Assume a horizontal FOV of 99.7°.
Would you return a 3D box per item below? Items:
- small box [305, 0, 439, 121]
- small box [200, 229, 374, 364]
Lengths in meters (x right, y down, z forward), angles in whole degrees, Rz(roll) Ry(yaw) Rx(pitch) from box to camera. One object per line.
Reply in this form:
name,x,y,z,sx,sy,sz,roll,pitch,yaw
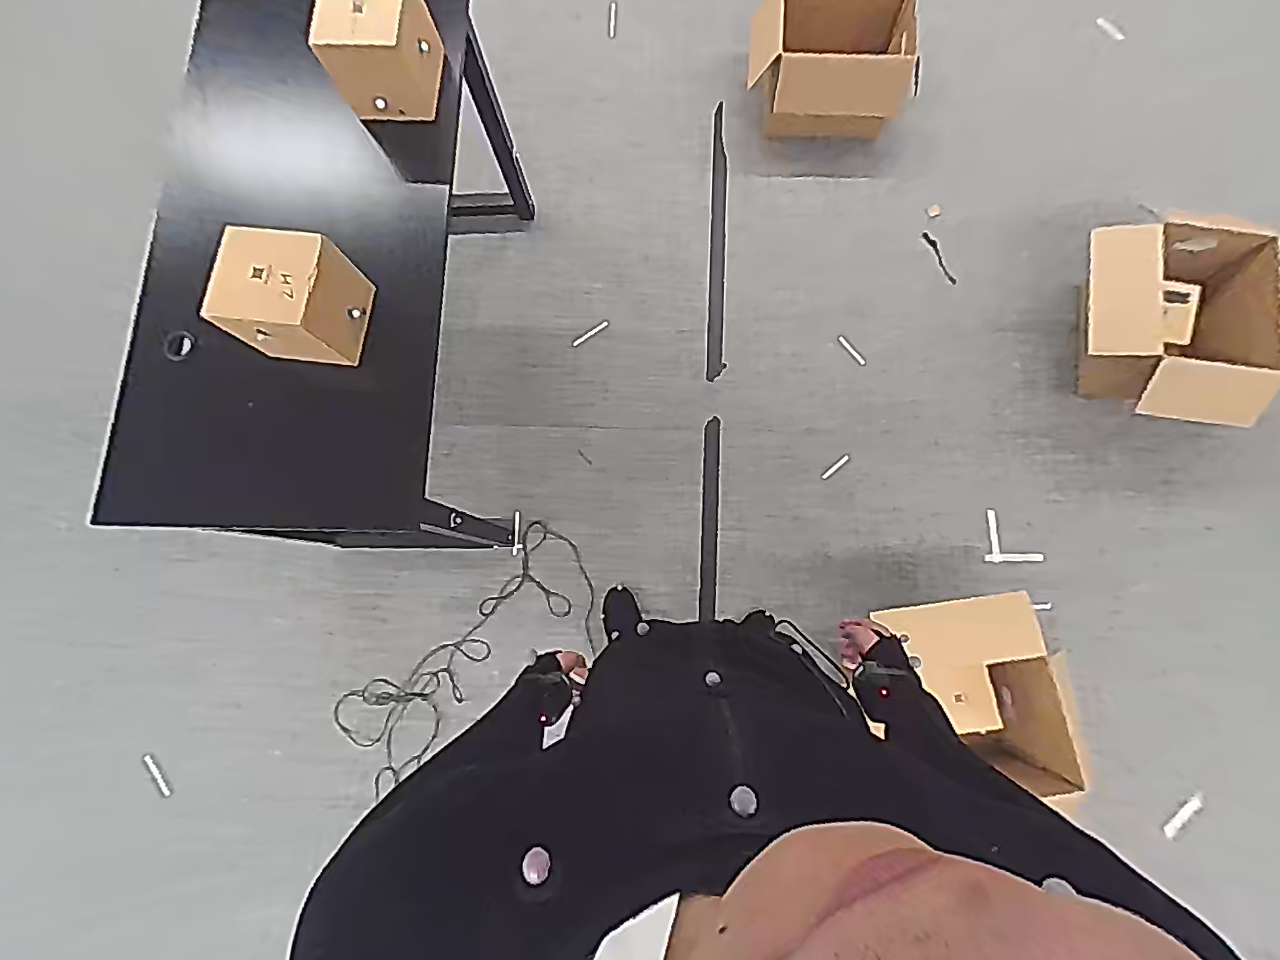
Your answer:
small box,-0.508,-0.843,1.051,0.168,0.176,0.179,3,81,4
small box,-0.613,-0.317,0.961,0.179,0.176,0.168,6,80,4
